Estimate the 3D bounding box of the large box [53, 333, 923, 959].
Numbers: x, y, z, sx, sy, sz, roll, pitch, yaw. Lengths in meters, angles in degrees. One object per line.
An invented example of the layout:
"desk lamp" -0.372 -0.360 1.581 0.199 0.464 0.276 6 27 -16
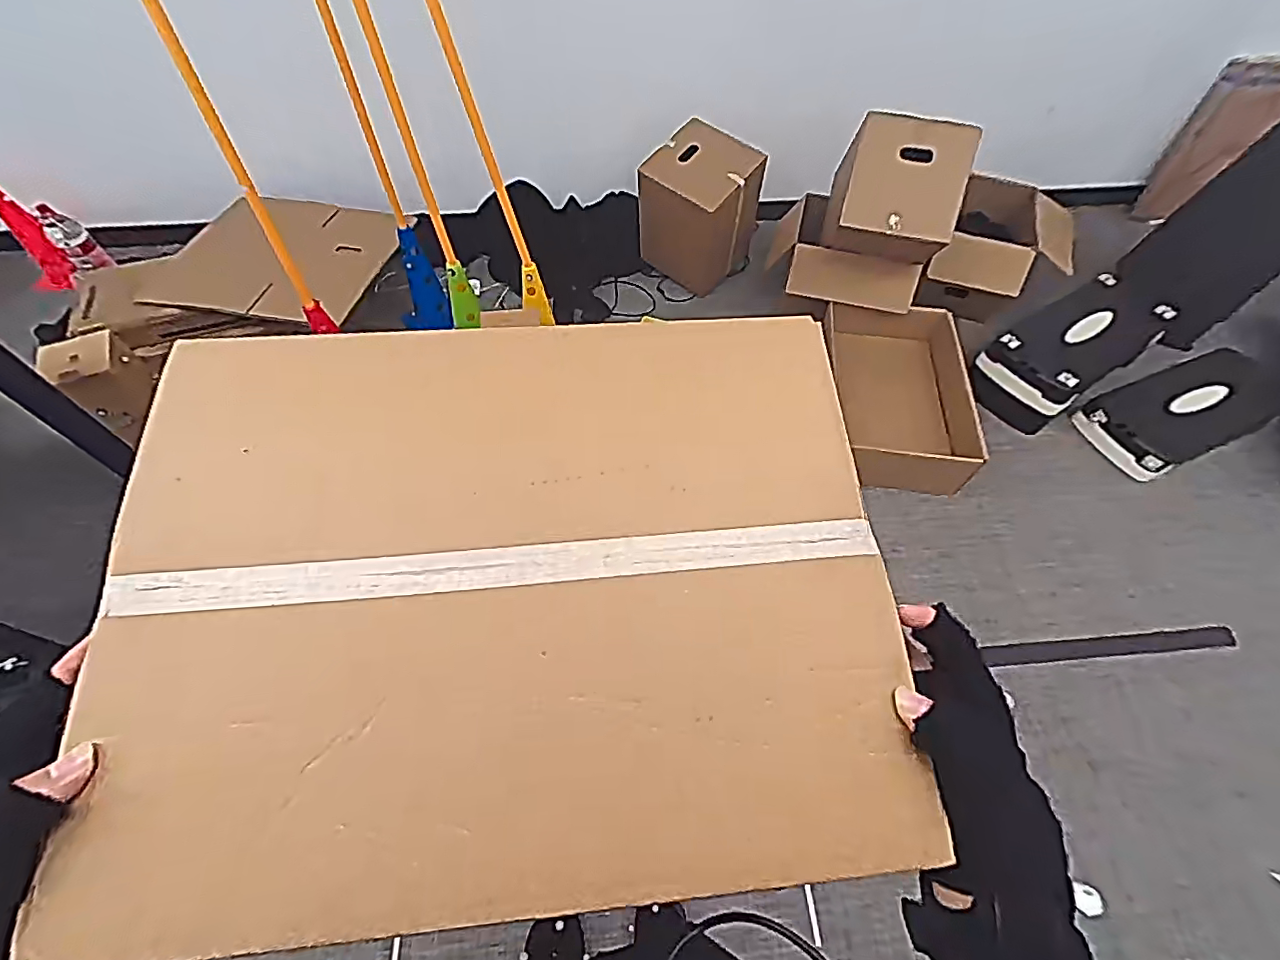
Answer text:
"large box" -0.077 0.109 0.438 0.408 0.320 0.320 -4 68 -4
